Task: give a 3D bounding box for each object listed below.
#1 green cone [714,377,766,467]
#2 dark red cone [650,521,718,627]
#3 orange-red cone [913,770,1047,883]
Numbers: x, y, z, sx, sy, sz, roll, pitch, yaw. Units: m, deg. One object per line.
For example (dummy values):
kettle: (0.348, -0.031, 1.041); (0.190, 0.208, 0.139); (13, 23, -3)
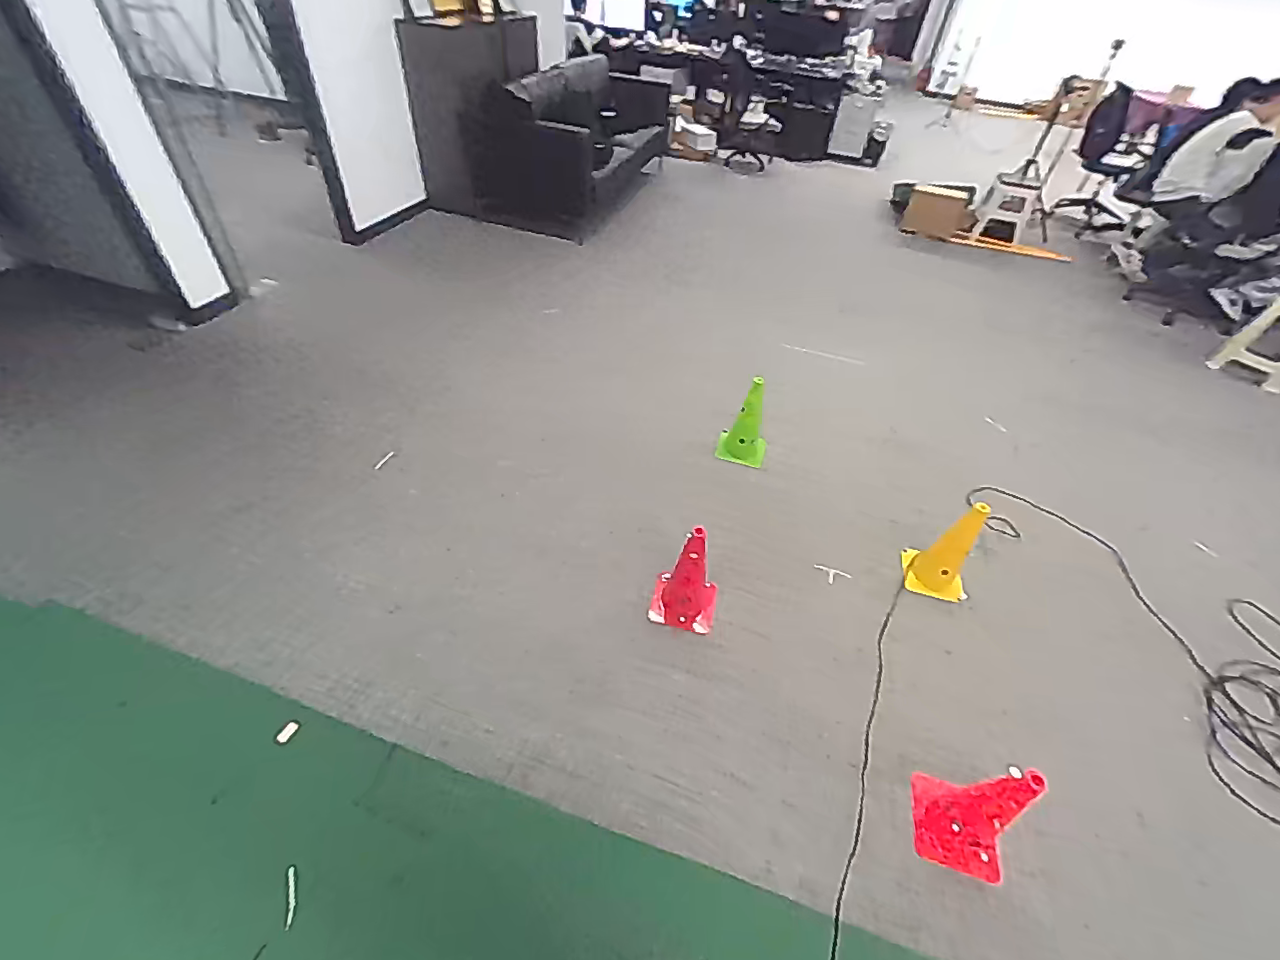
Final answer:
green cone: (0.448, -0.261, 2.226); (0.202, 0.368, 0.200); (16, 45, 8)
dark red cone: (0.156, 0.258, 1.623); (0.202, 0.394, 0.201); (12, 45, 6)
orange-red cone: (0.798, 0.738, 1.229); (0.198, 0.360, 0.199); (17, 44, 10)
